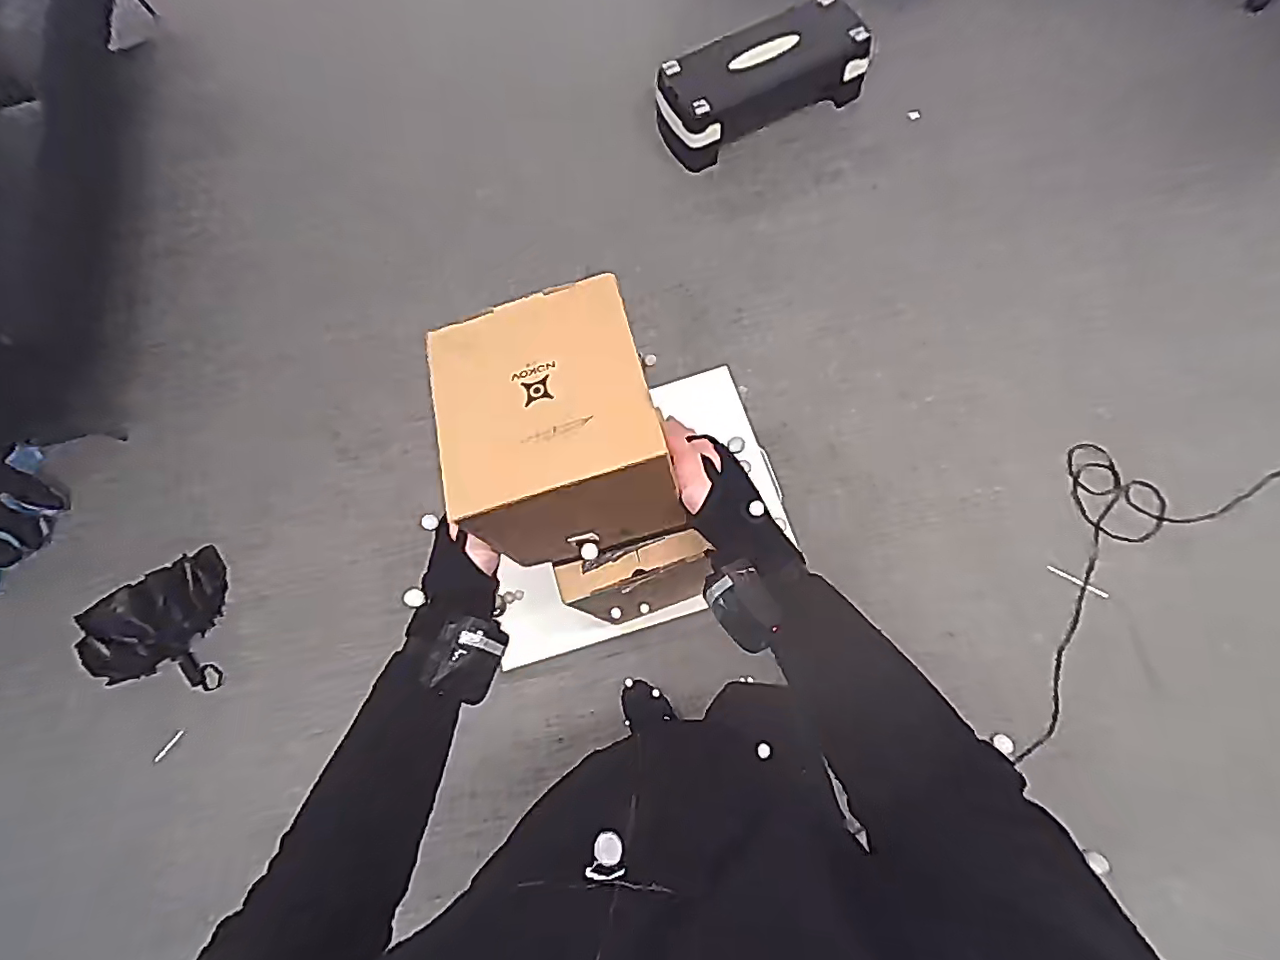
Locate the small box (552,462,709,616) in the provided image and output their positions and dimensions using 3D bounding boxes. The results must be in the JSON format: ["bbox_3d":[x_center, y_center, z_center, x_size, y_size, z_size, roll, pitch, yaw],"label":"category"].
[{"bbox_3d":[-0.021,0.056,0.653,0.168,0.176,0.179,-20,69,-1],"label":"small box"}]

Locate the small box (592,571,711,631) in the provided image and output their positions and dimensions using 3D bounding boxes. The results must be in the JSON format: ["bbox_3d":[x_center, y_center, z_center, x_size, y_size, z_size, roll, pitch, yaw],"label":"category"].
[{"bbox_3d":[-0.004,0.111,0.808,0.168,0.176,0.179,-21,70,-1],"label":"small box"}]

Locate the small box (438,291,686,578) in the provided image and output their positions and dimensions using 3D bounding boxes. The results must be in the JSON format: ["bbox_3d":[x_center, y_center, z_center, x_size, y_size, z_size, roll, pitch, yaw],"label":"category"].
[{"bbox_3d":[-0.064,-0.032,0.497,0.168,0.176,0.179,-18,63,2],"label":"small box"}]
